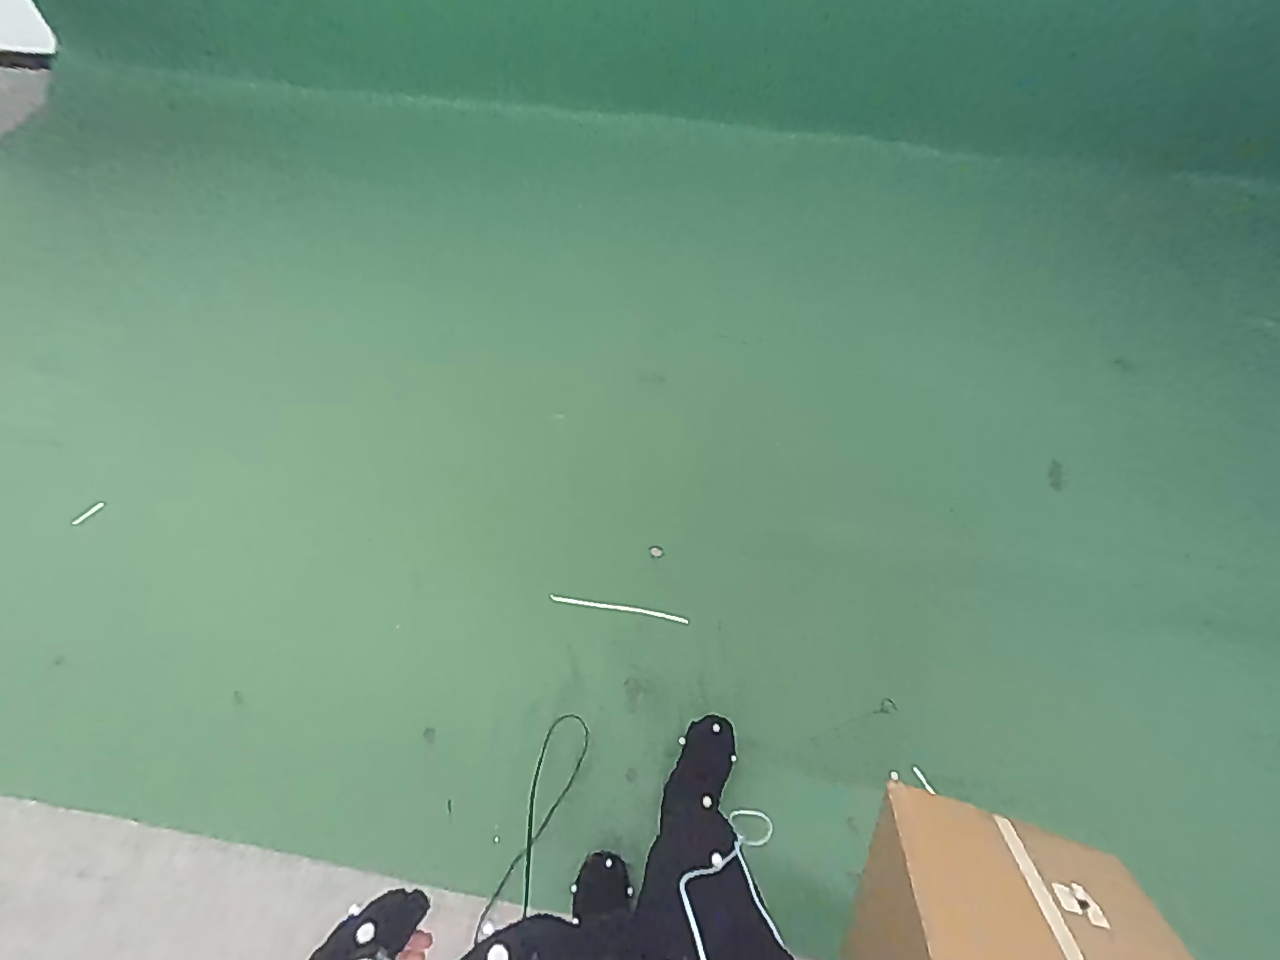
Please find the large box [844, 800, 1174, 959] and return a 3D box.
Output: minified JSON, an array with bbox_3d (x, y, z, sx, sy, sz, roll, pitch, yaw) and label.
[{"bbox_3d":[0.438,0.681,0.620,0.320,0.408,0.320,14,97,15],"label":"large box"}]
